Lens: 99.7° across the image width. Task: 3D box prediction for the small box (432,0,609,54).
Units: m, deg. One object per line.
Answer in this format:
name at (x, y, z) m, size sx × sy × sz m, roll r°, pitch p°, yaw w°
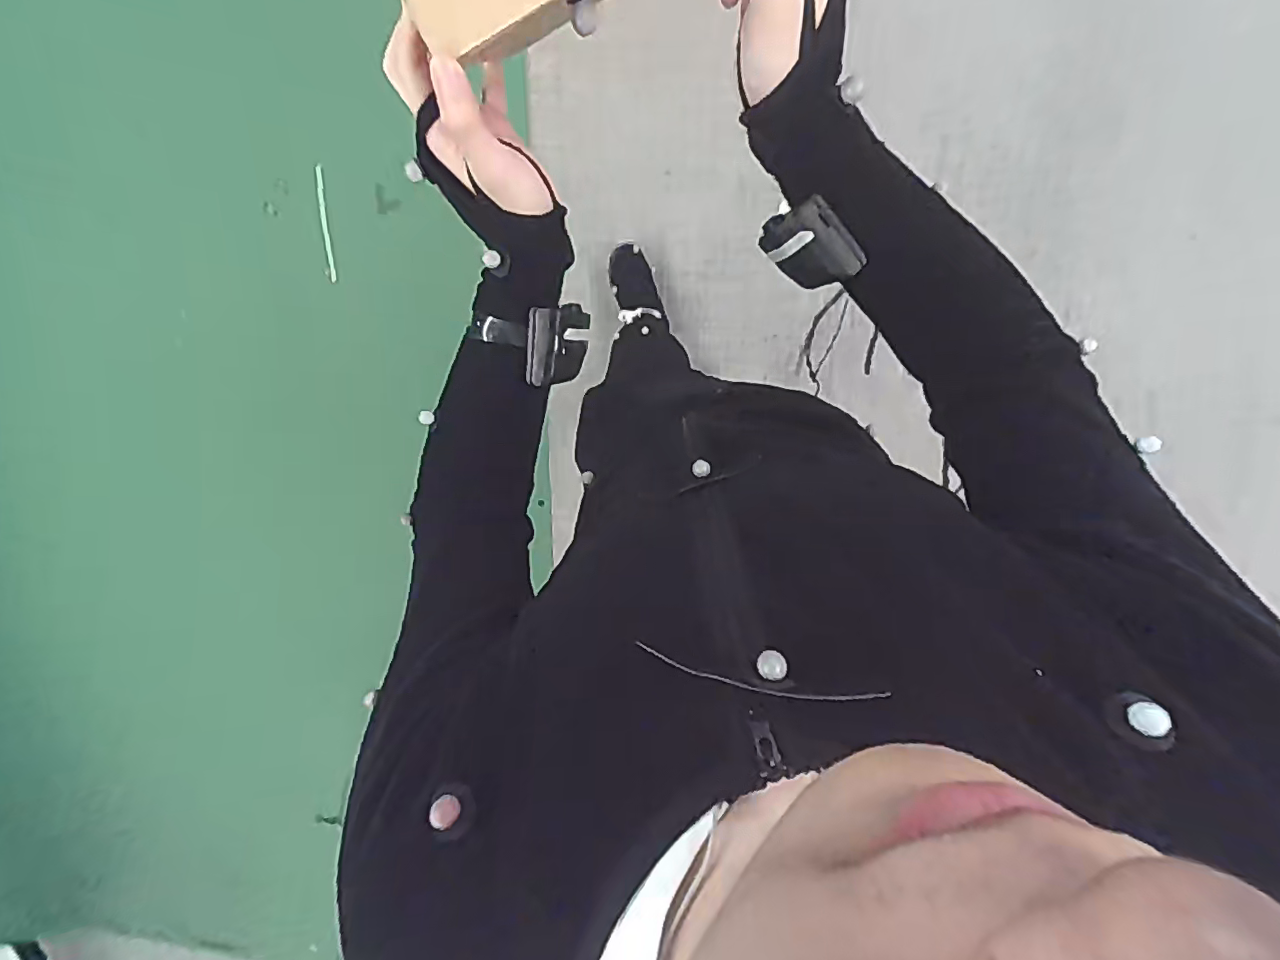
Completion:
small box at (-0.049, -0.367, 0.289) m, size 0.179 × 0.176 × 0.168 m, roll -17°, pitch 126°, yaw 16°
